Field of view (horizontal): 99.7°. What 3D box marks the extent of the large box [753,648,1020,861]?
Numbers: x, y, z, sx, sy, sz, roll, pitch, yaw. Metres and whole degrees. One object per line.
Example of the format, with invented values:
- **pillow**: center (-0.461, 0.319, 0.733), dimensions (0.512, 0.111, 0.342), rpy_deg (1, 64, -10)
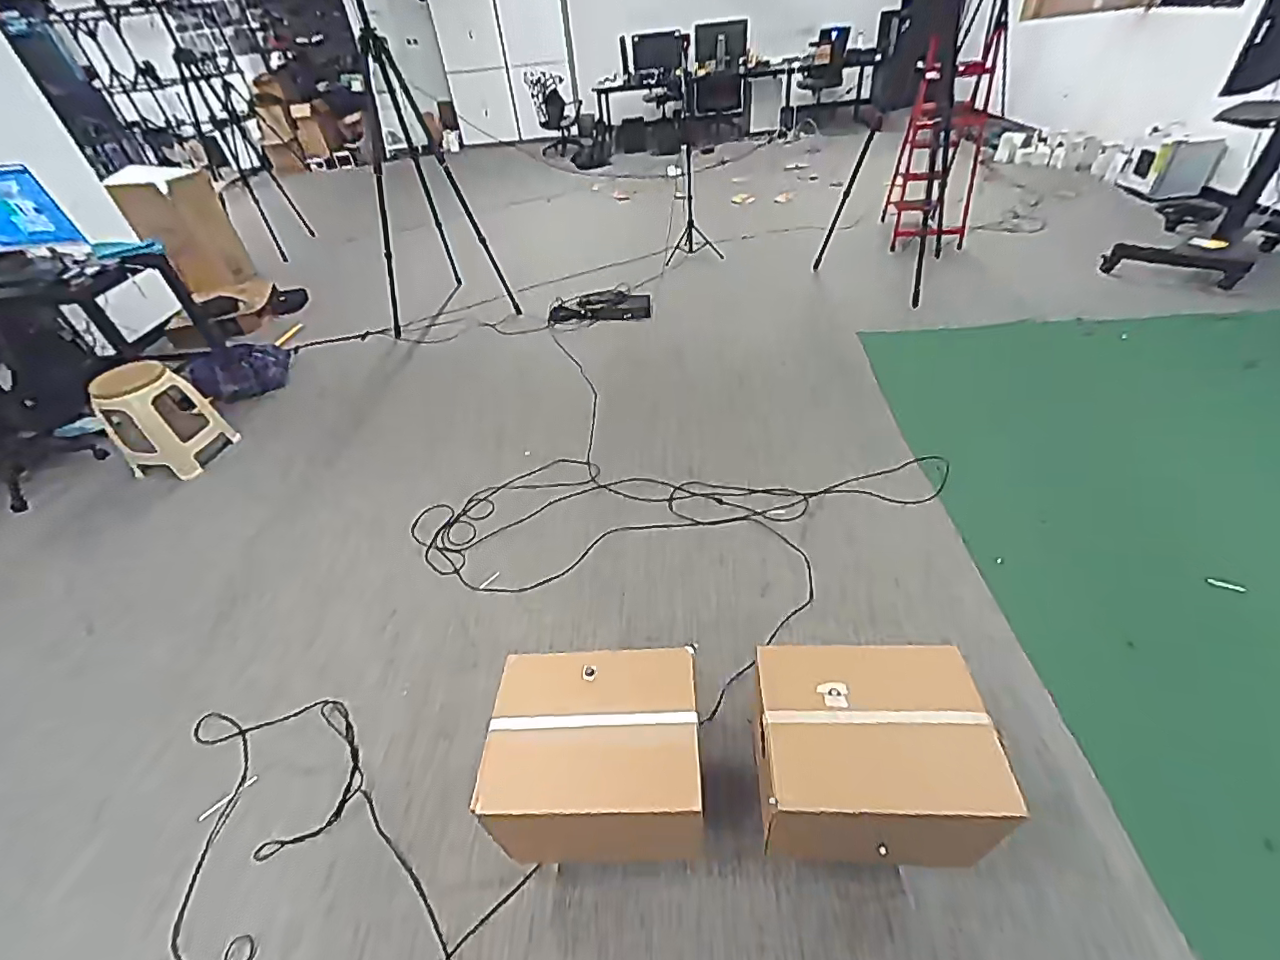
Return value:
- **large box**: center (0.455, 0.567, 1.116), dimensions (0.408, 0.320, 0.320), rpy_deg (-2, 41, 6)
